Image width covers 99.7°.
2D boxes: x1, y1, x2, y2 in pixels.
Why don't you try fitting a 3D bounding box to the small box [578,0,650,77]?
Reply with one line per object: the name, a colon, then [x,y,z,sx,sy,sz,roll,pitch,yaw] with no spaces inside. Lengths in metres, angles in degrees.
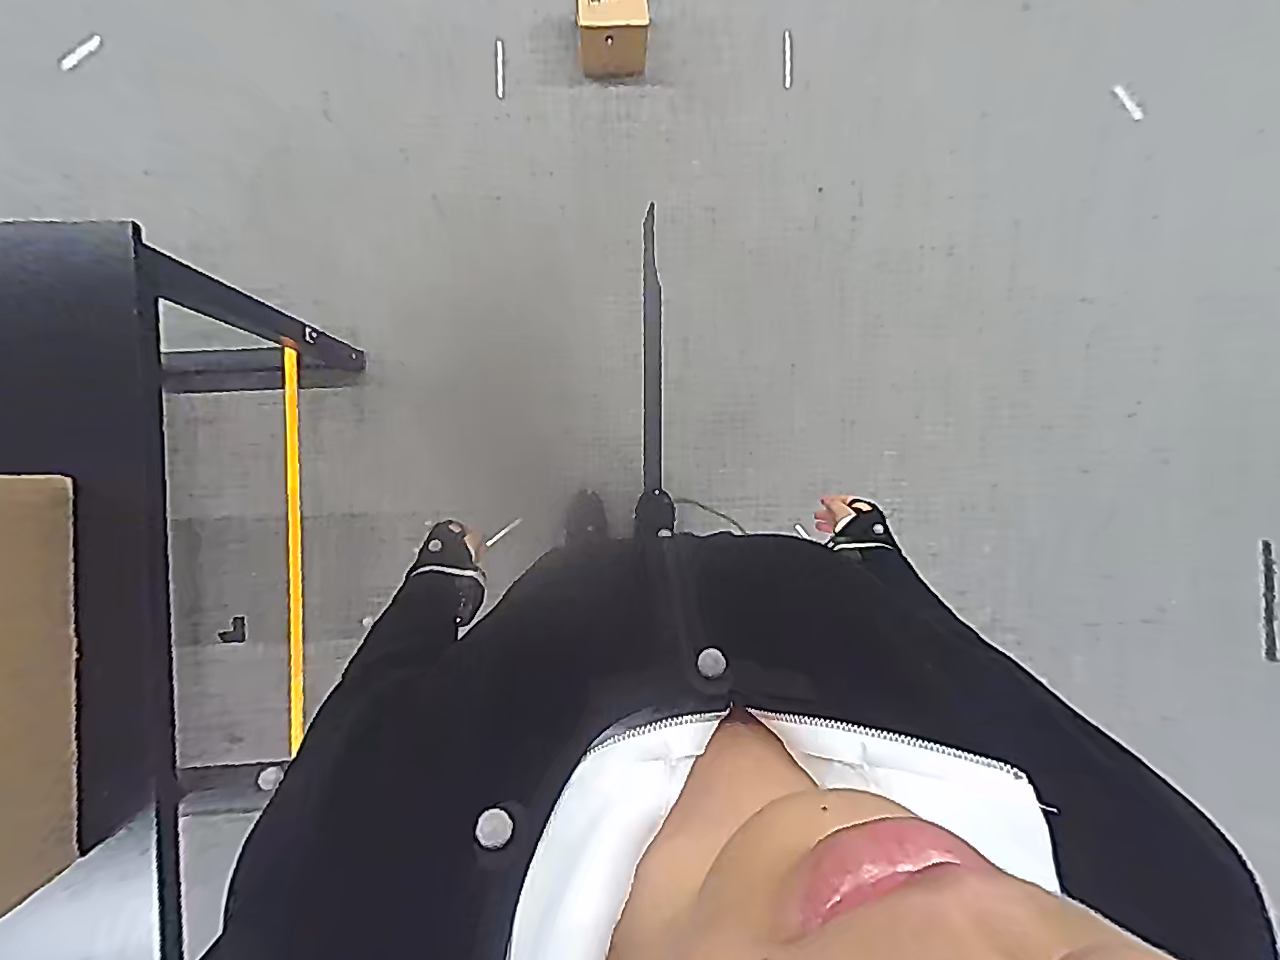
small box: [-0.070,-1.189,1.407,0.179,0.176,0.168,-5,91,-4]
